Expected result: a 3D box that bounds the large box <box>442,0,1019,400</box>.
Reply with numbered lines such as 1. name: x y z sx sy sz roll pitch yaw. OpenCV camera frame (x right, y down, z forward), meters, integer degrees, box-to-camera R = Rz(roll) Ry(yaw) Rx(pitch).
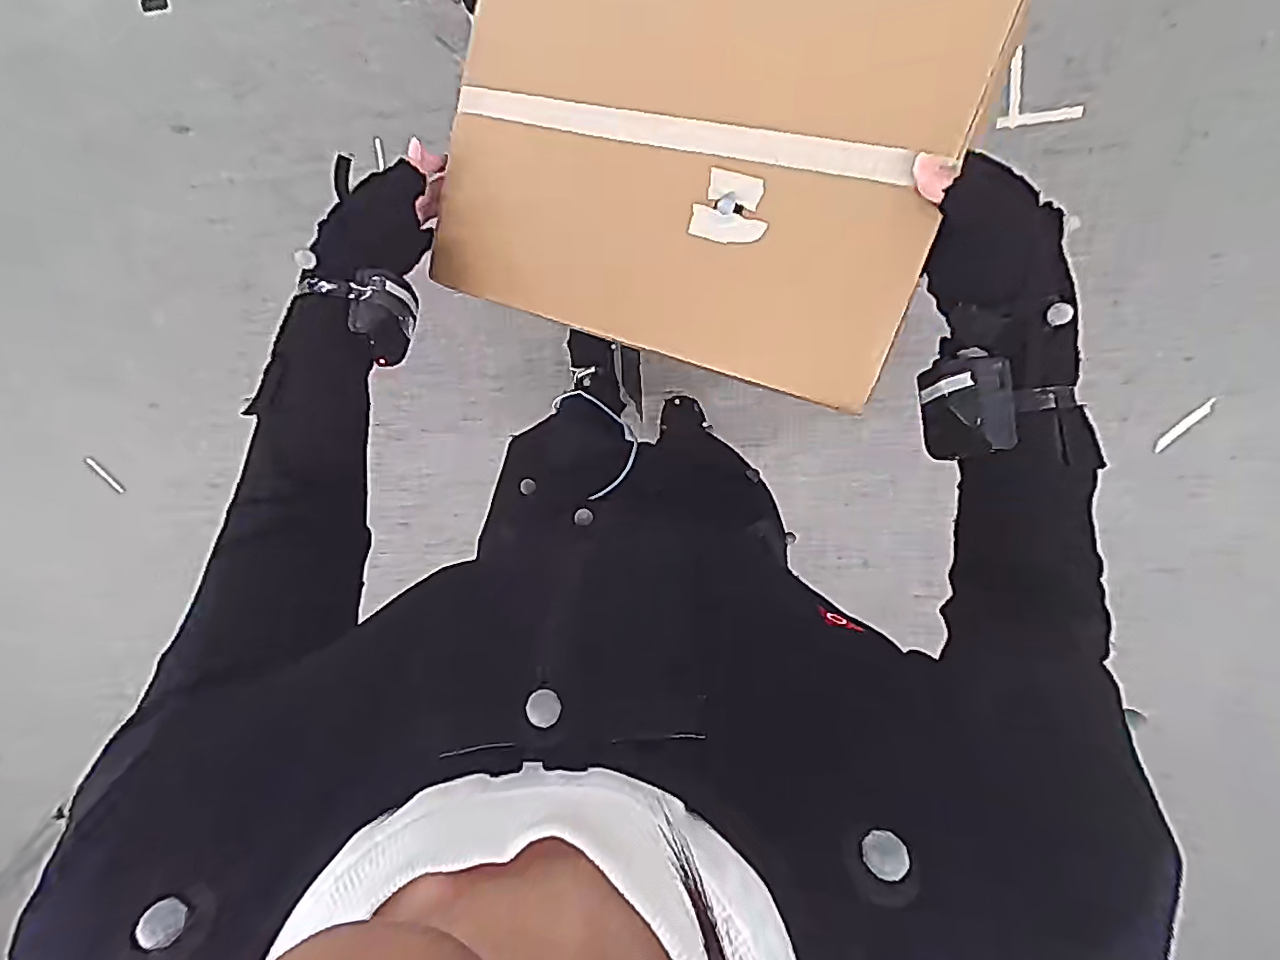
1. large box: 0.081 -0.286 0.554 0.408 0.320 0.320 21 105 18
